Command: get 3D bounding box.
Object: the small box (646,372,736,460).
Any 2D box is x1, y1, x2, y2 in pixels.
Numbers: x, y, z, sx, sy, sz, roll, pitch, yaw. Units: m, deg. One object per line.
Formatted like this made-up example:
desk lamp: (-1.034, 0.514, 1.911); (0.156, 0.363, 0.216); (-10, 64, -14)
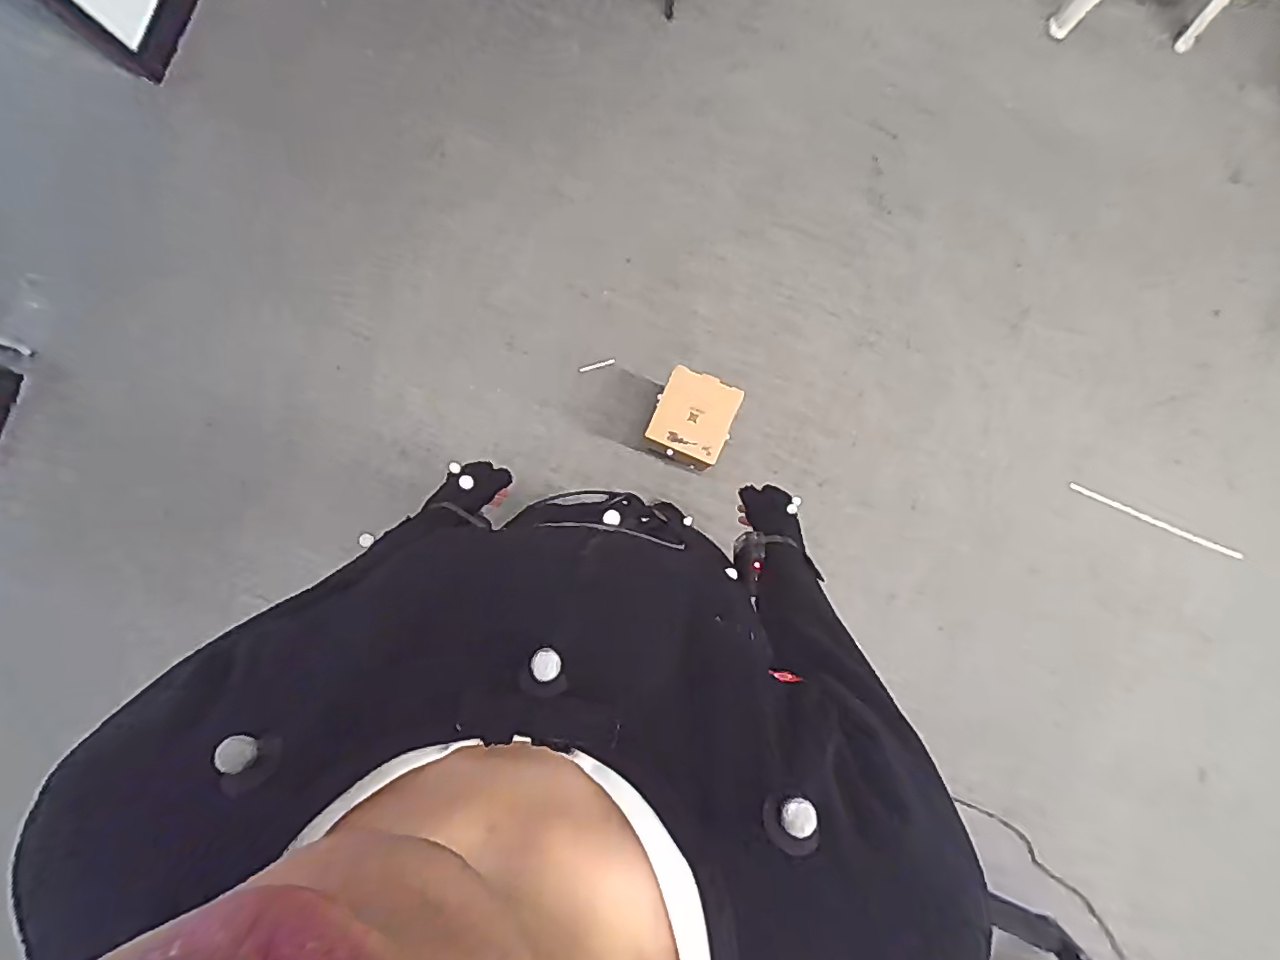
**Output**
small box: (0.128, -0.158, 1.406); (0.179, 0.176, 0.168); (24, 90, 2)
